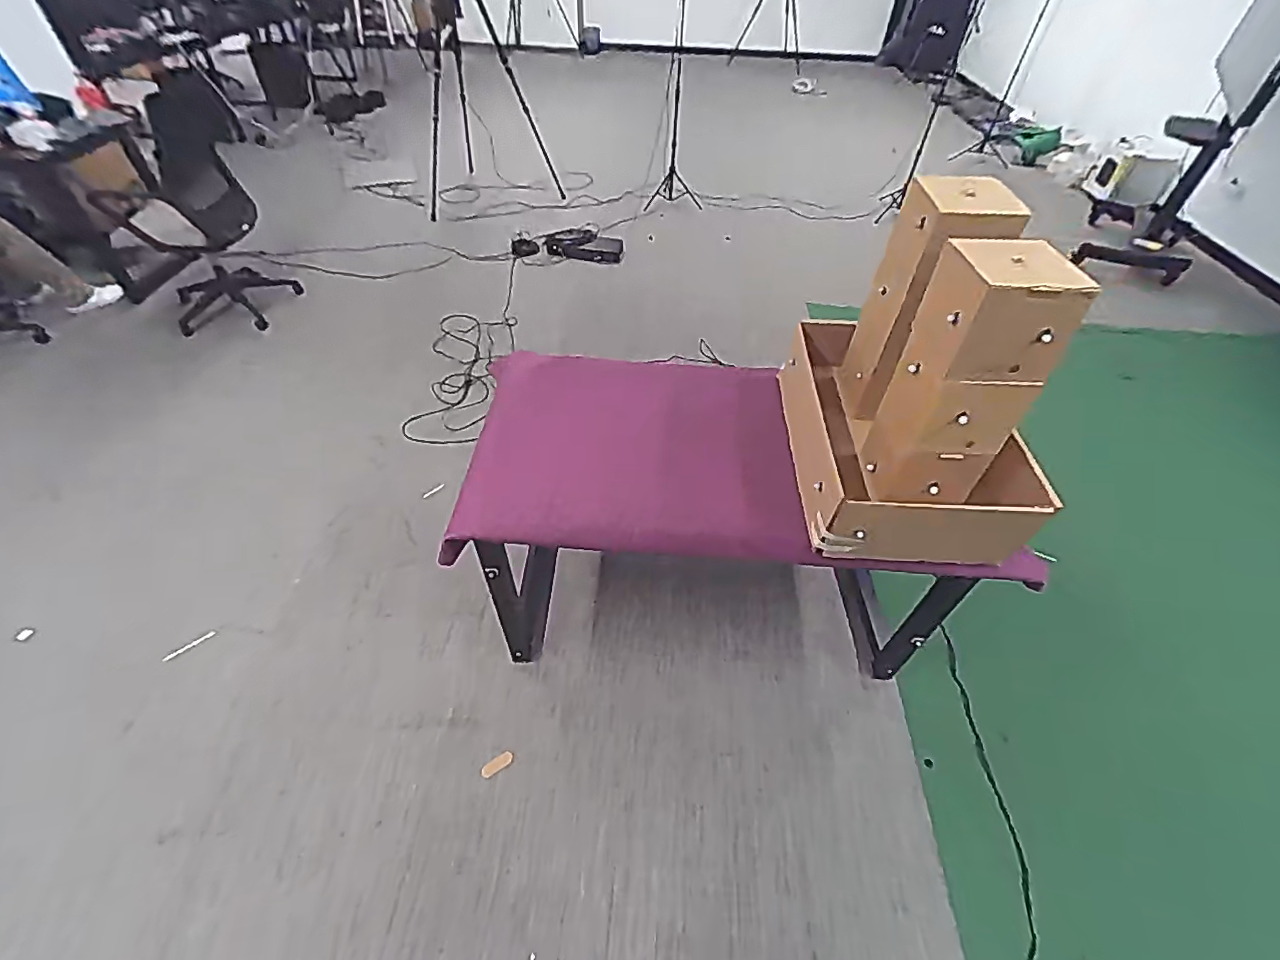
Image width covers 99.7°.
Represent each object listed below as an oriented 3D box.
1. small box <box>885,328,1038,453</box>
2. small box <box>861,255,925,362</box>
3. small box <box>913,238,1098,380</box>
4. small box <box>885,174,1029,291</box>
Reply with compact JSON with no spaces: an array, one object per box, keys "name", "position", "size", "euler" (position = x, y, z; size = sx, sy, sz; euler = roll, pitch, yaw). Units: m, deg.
[{"name":"small box","position":[0.586,-0.166,1.014],"size":[0.168,0.176,0.179],"euler":[2,46,2]},{"name":"small box","position":[0.610,-0.378,1.201],"size":[0.168,0.176,0.179],"euler":[1,49,1]},{"name":"small box","position":[0.587,-0.282,0.898],"size":[0.168,0.176,0.179],"euler":[2,46,1]},{"name":"small box","position":[0.614,-0.484,1.073],"size":[0.168,0.176,0.179],"euler":[3,49,1]}]
